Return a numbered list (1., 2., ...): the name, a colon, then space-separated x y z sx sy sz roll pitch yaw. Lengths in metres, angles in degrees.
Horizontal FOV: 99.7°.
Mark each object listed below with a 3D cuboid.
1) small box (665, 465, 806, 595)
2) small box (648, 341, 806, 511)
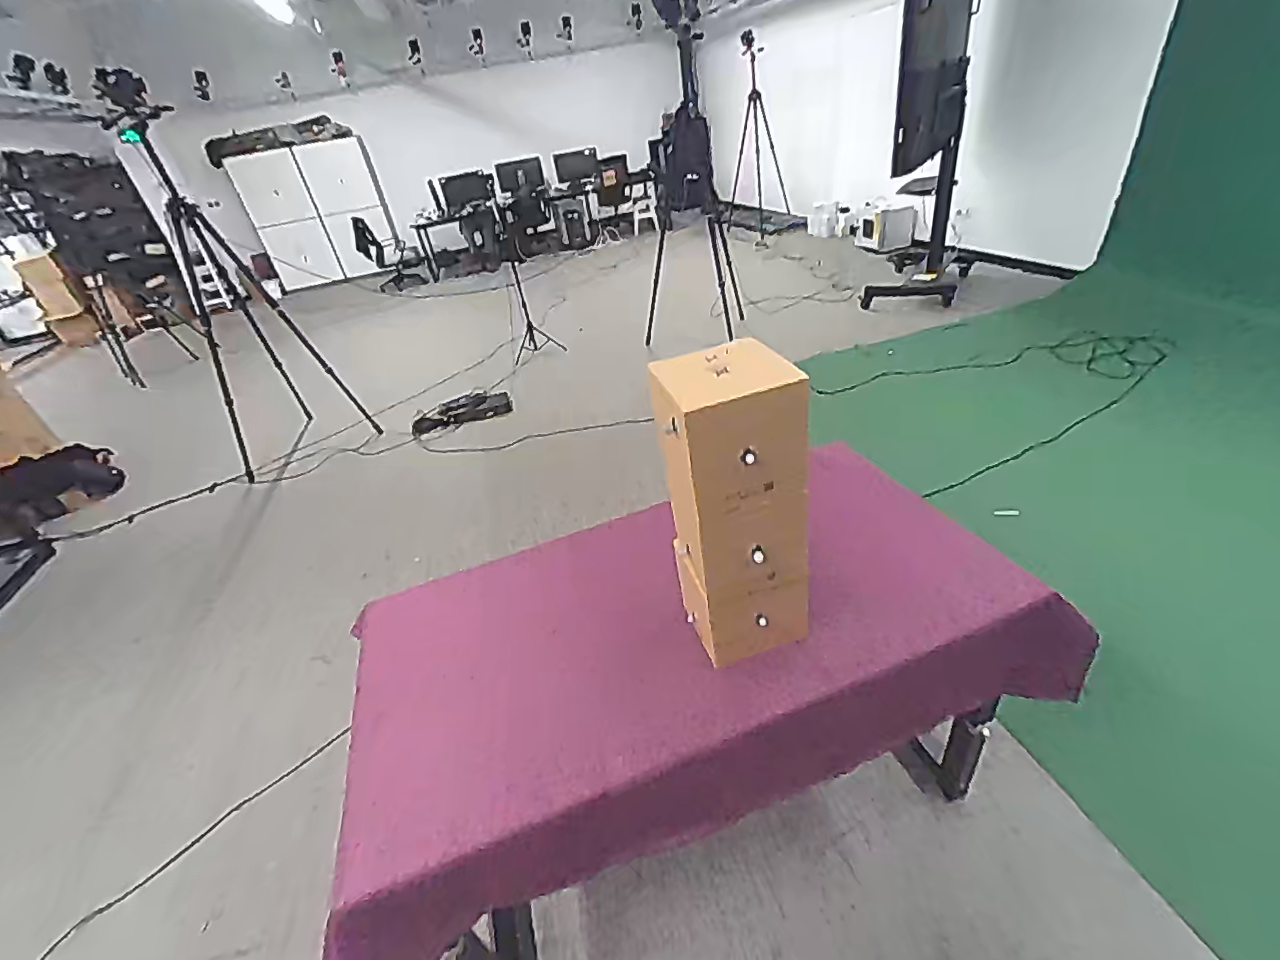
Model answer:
1. small box: 0.149 0.061 0.856 0.168 0.176 0.179 -15 34 -6
2. small box: 0.122 -0.073 0.763 0.168 0.176 0.179 -15 33 -7
